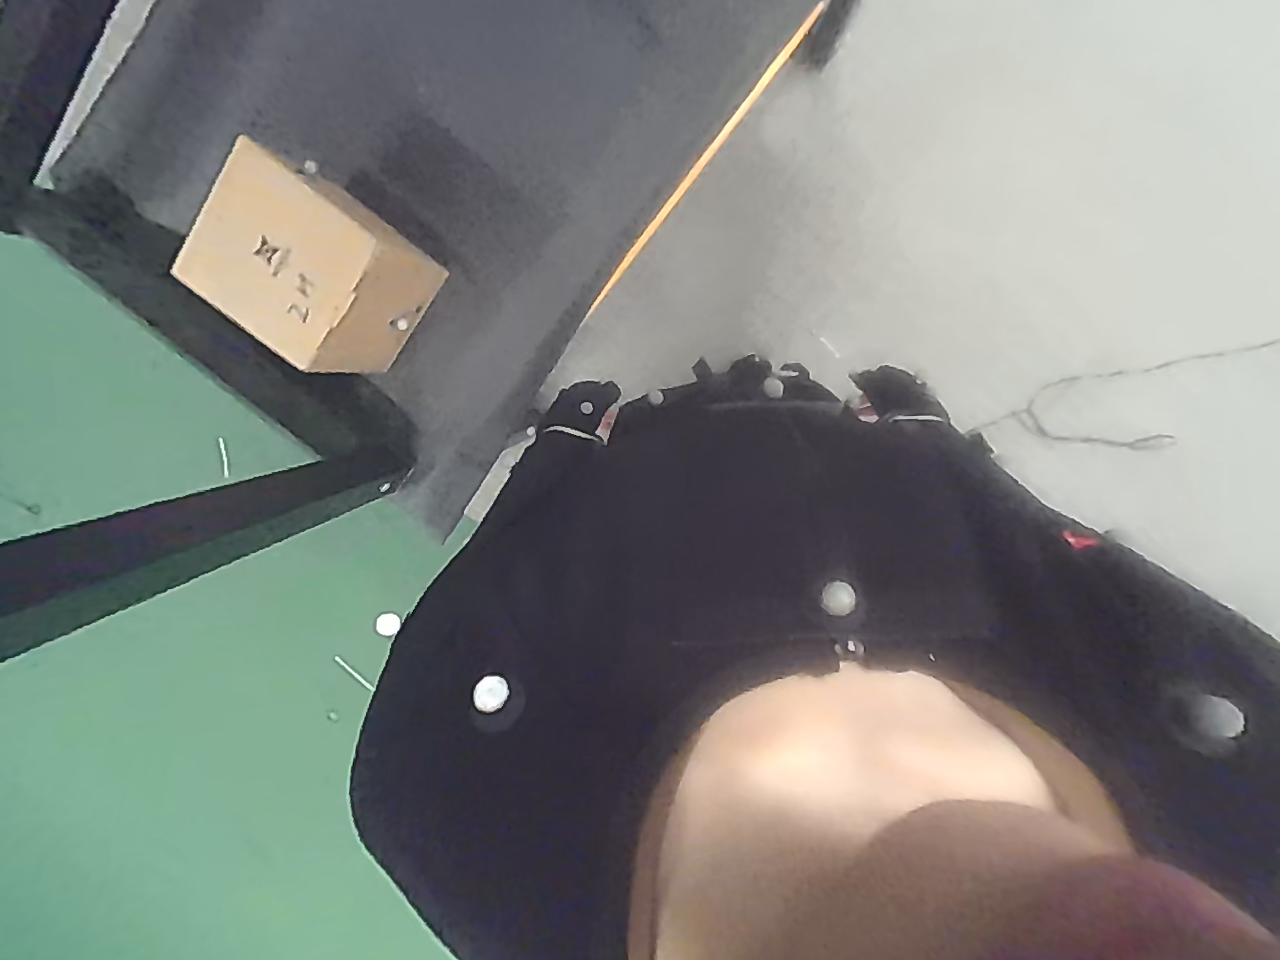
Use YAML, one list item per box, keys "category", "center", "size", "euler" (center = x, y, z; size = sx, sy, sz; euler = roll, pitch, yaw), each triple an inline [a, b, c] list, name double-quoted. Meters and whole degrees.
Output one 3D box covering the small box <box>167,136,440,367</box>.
- category: "small box"
  center: [-0.377, -0.246, 0.637]
  size: [0.179, 0.176, 0.168]
  euler: [37, 102, -3]
